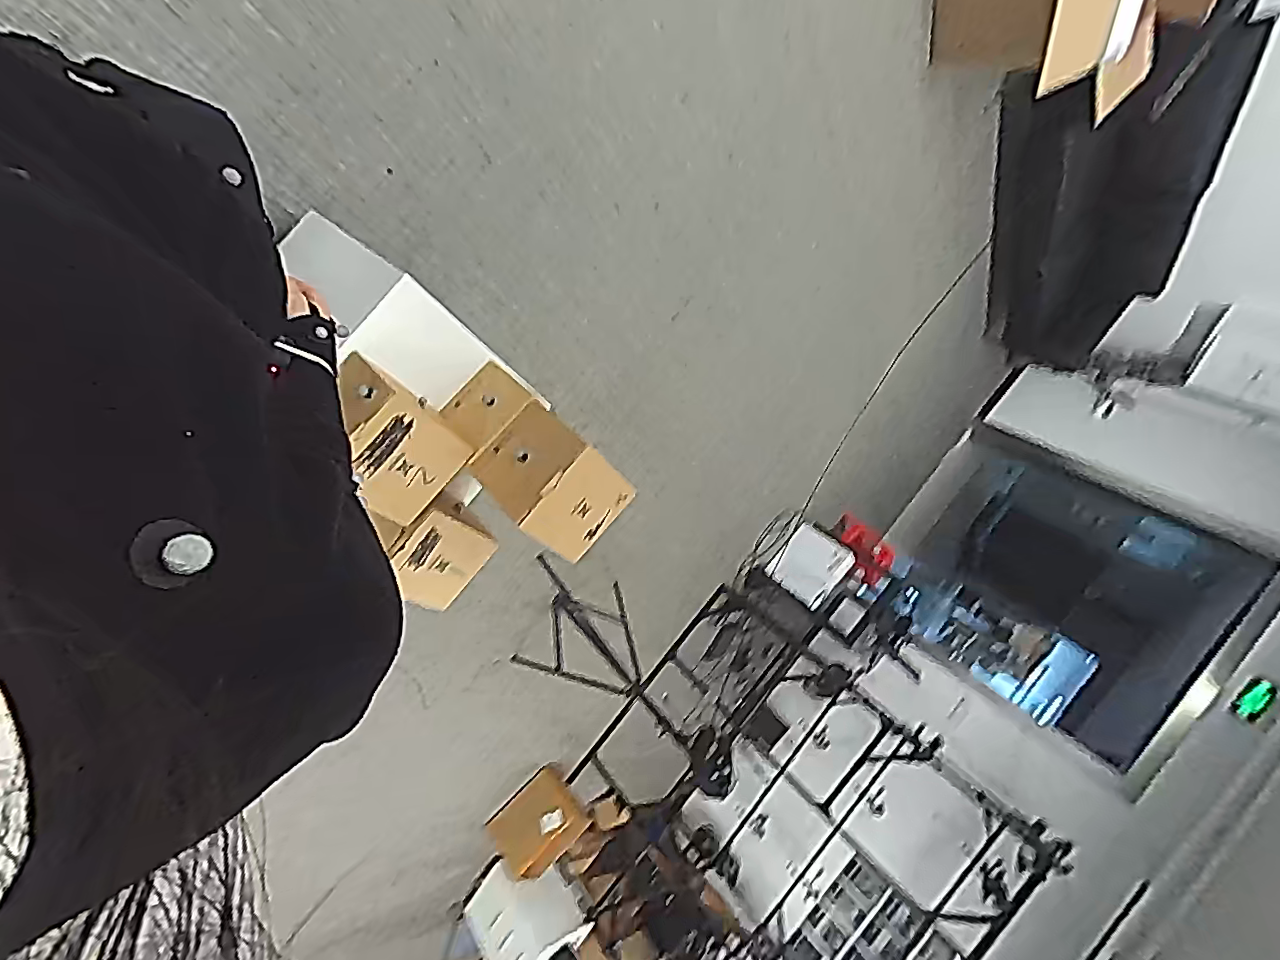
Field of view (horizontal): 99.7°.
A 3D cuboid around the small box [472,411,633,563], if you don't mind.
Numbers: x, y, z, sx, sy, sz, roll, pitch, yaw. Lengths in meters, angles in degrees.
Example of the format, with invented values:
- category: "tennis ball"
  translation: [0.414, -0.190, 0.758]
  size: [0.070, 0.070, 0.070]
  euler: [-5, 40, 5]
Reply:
- category: "small box"
  translation: [-0.150, 0.006, 0.916]
  size: [0.168, 0.176, 0.179]
  euler: [-48, 142, -5]

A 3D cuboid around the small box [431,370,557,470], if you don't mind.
- category: "small box"
  translation: [-0.252, -0.083, 1.009]
  size: [0.168, 0.176, 0.179]
  euler: [-48, 143, -6]
